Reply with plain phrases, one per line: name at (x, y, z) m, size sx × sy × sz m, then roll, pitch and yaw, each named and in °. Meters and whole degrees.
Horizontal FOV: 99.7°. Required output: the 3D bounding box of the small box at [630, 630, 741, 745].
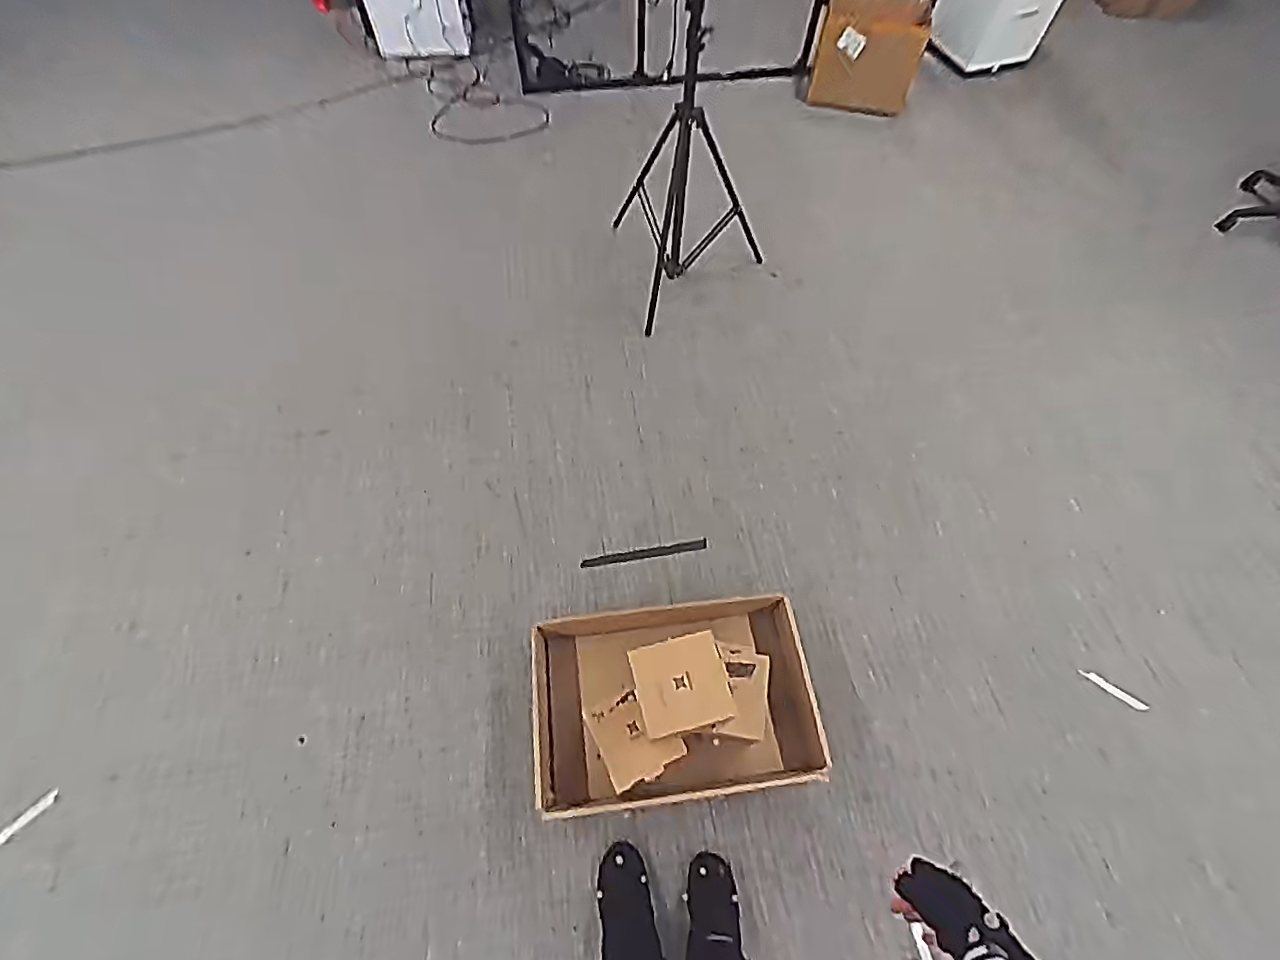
small box at (0.081, 0.419, 1.086) m, size 0.179 × 0.176 × 0.168 m, roll -13°, pitch 61°, yaw -7°
